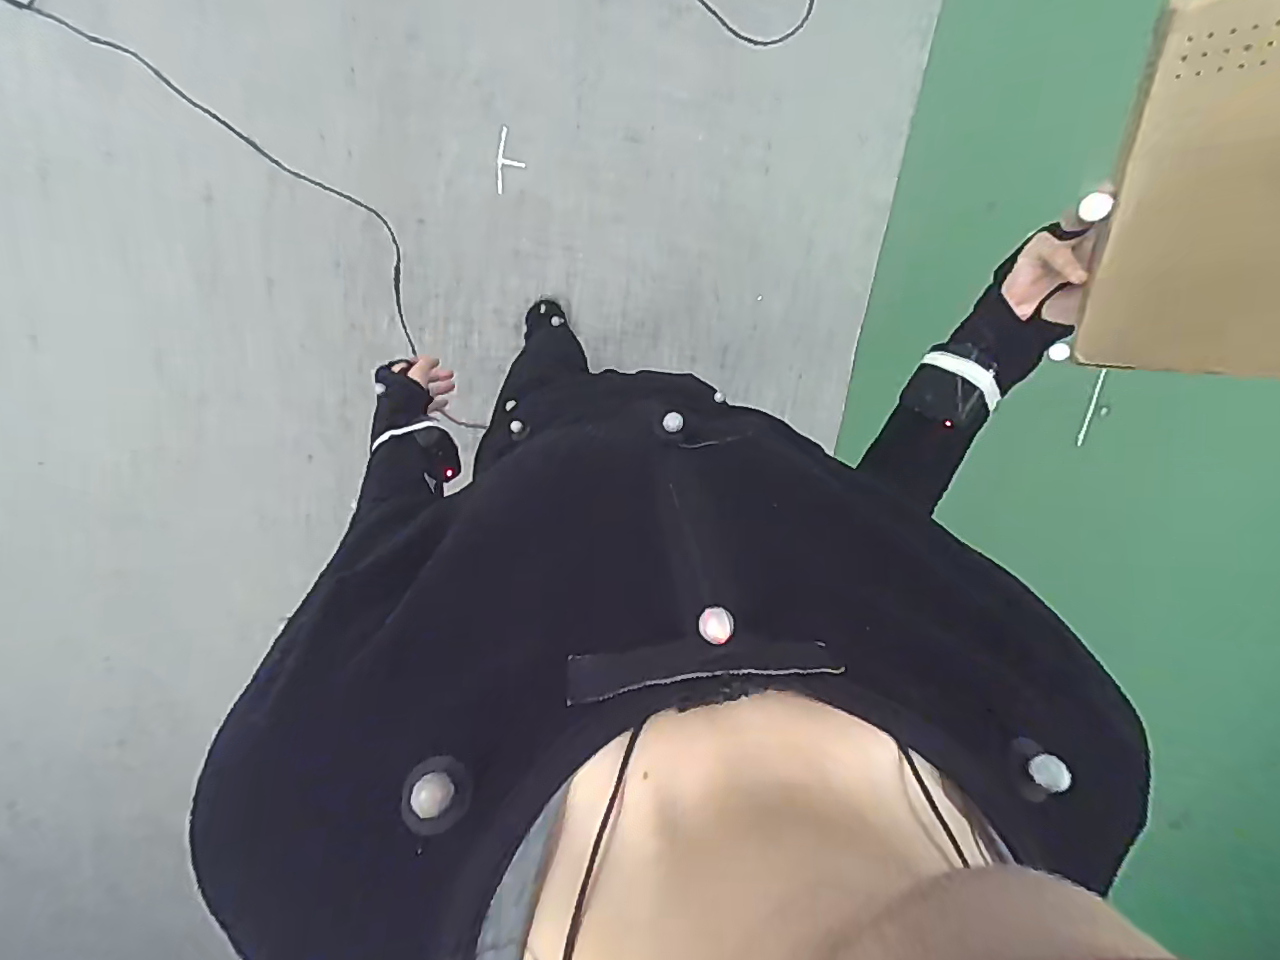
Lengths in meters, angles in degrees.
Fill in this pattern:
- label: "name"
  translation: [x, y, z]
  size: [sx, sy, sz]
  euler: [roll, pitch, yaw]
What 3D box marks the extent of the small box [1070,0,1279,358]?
- label: "small box"
  translation: [0.344, -0.175, 0.274]
  size: [0.179, 0.168, 0.176]
  euler: [-47, 136, -36]
